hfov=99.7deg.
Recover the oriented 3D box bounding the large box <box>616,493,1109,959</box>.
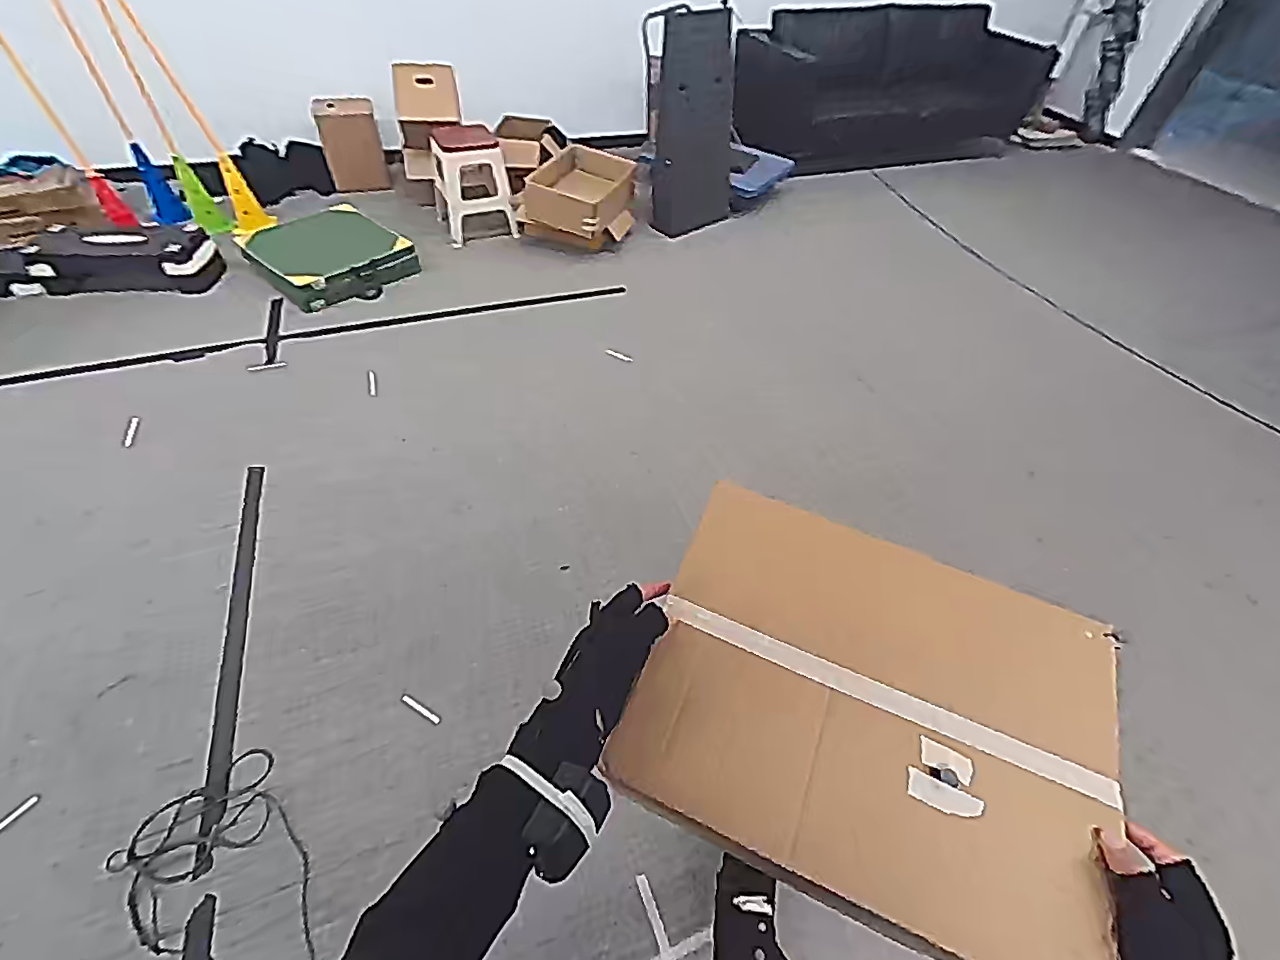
[{"bbox_3d":[0.212,0.276,0.628,0.408,0.320,0.320,21,61,12],"label":"large box"}]
